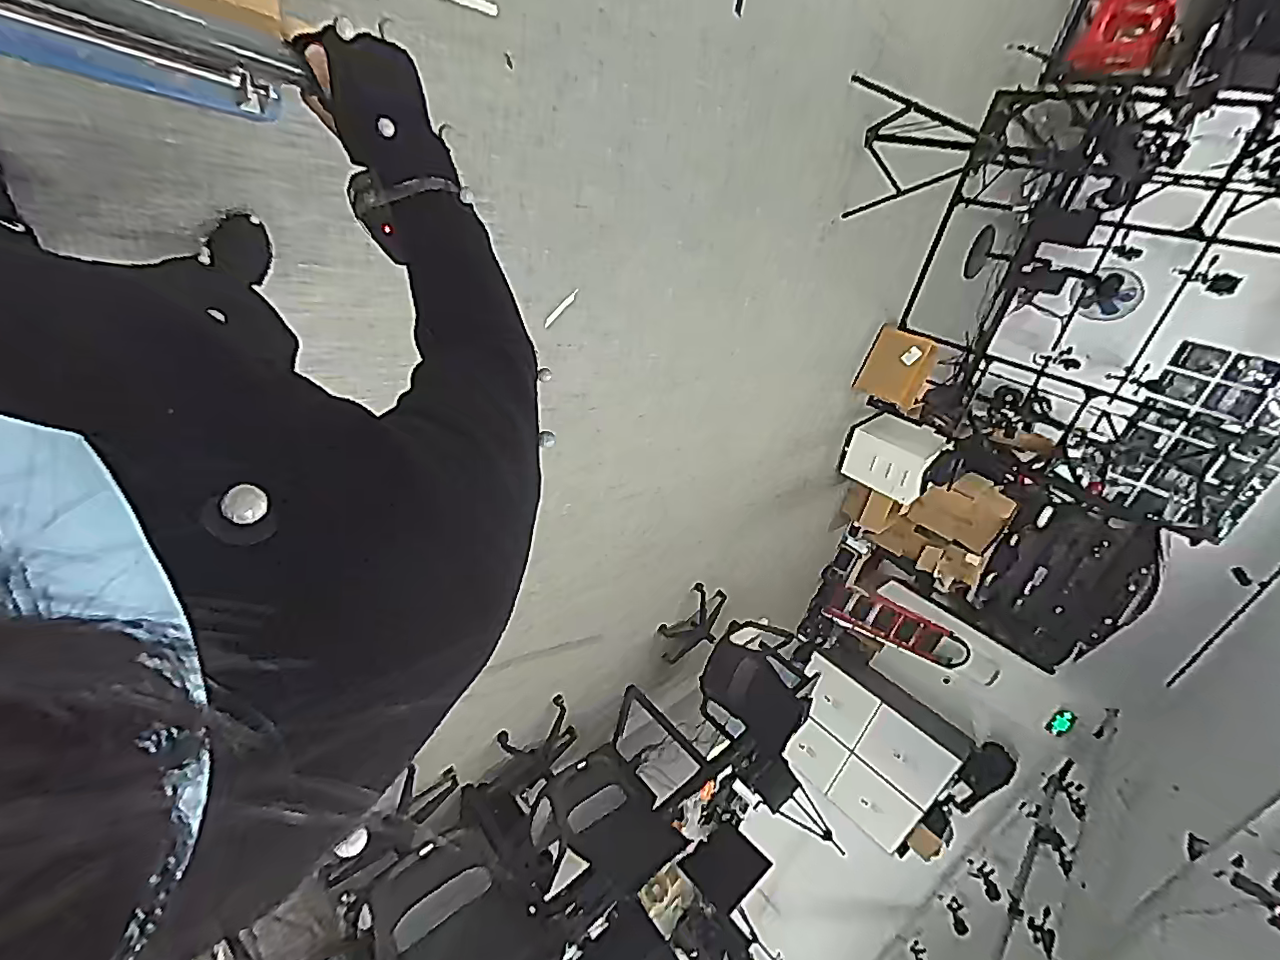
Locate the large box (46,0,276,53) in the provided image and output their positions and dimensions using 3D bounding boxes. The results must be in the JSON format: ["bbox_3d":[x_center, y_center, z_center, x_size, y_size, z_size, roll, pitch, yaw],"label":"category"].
[{"bbox_3d":[-0.689,-0.733,0.595,0.408,0.320,0.320,-13,126,-46],"label":"large box"}]
